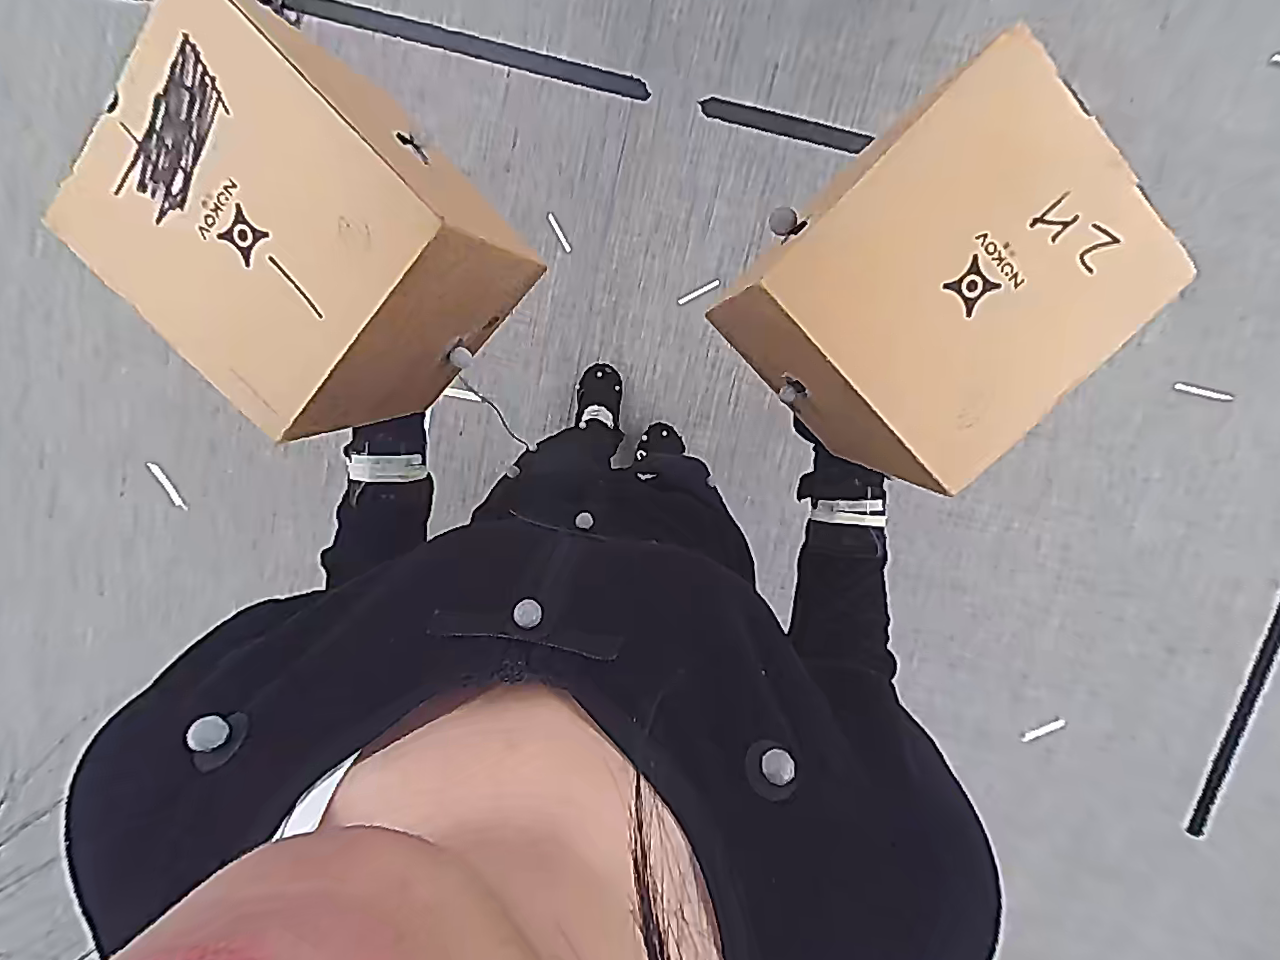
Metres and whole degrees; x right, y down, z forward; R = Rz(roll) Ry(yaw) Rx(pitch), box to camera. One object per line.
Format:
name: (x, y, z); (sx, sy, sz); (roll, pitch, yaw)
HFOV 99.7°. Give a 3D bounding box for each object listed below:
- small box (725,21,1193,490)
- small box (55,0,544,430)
small box: (0.175, -0.123, 0.361); (0.179, 0.176, 0.168); (-44, 102, 6)
small box: (-0.196, -0.158, 0.360); (0.179, 0.176, 0.168); (44, 107, -5)
